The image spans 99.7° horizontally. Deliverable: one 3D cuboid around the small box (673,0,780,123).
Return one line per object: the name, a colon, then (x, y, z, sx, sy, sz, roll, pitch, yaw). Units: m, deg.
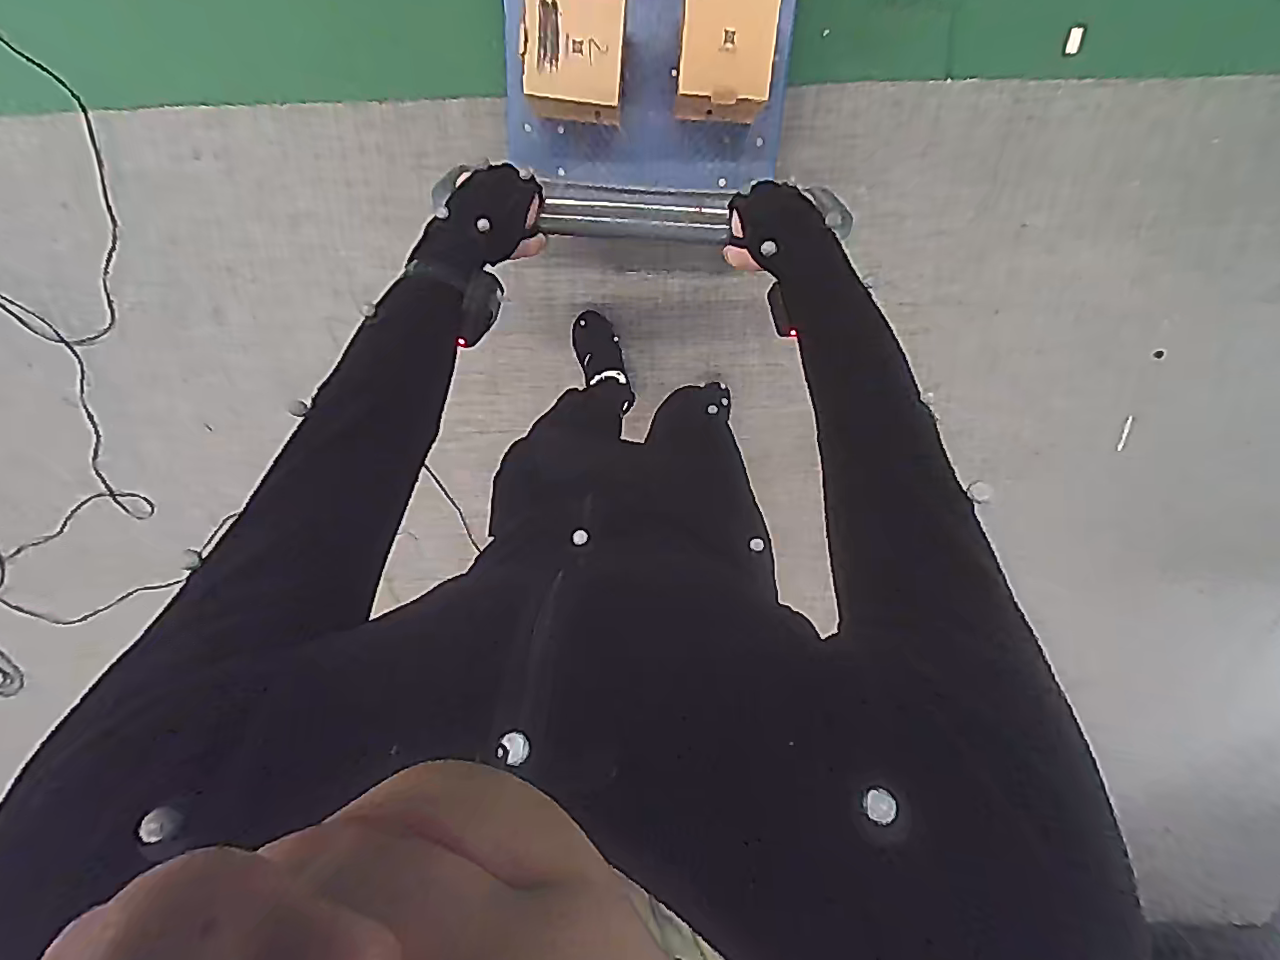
small box: (0.154, -0.804, 1.026, 0.168, 0.176, 0.179, 3, 113, -2)
